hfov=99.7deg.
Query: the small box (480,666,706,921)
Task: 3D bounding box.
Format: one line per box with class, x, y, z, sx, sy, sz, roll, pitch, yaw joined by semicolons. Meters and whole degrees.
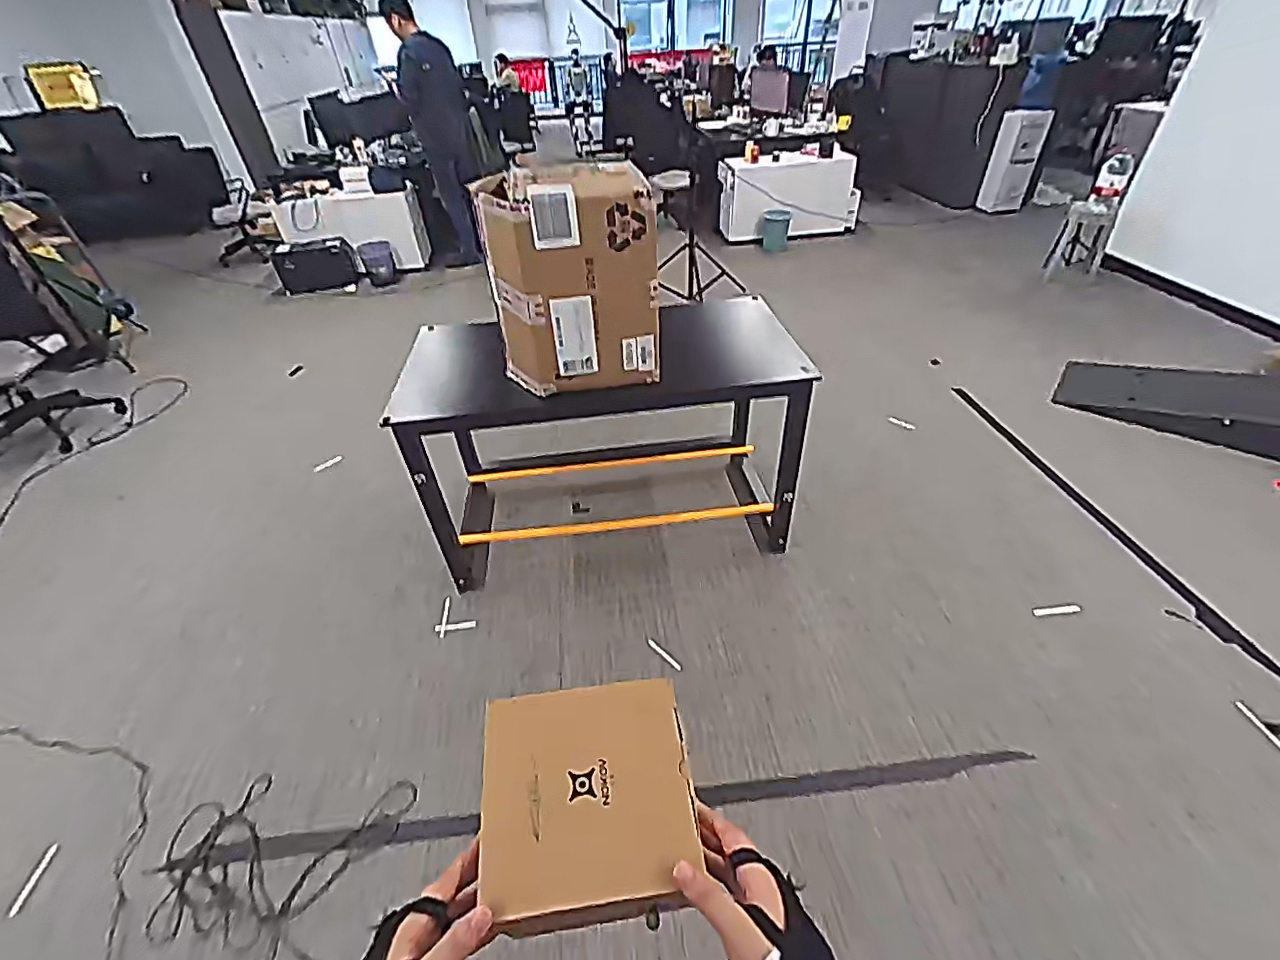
small box;-0.045;0.303;0.523;0.179;0.176;0.168;-7;47;-6
